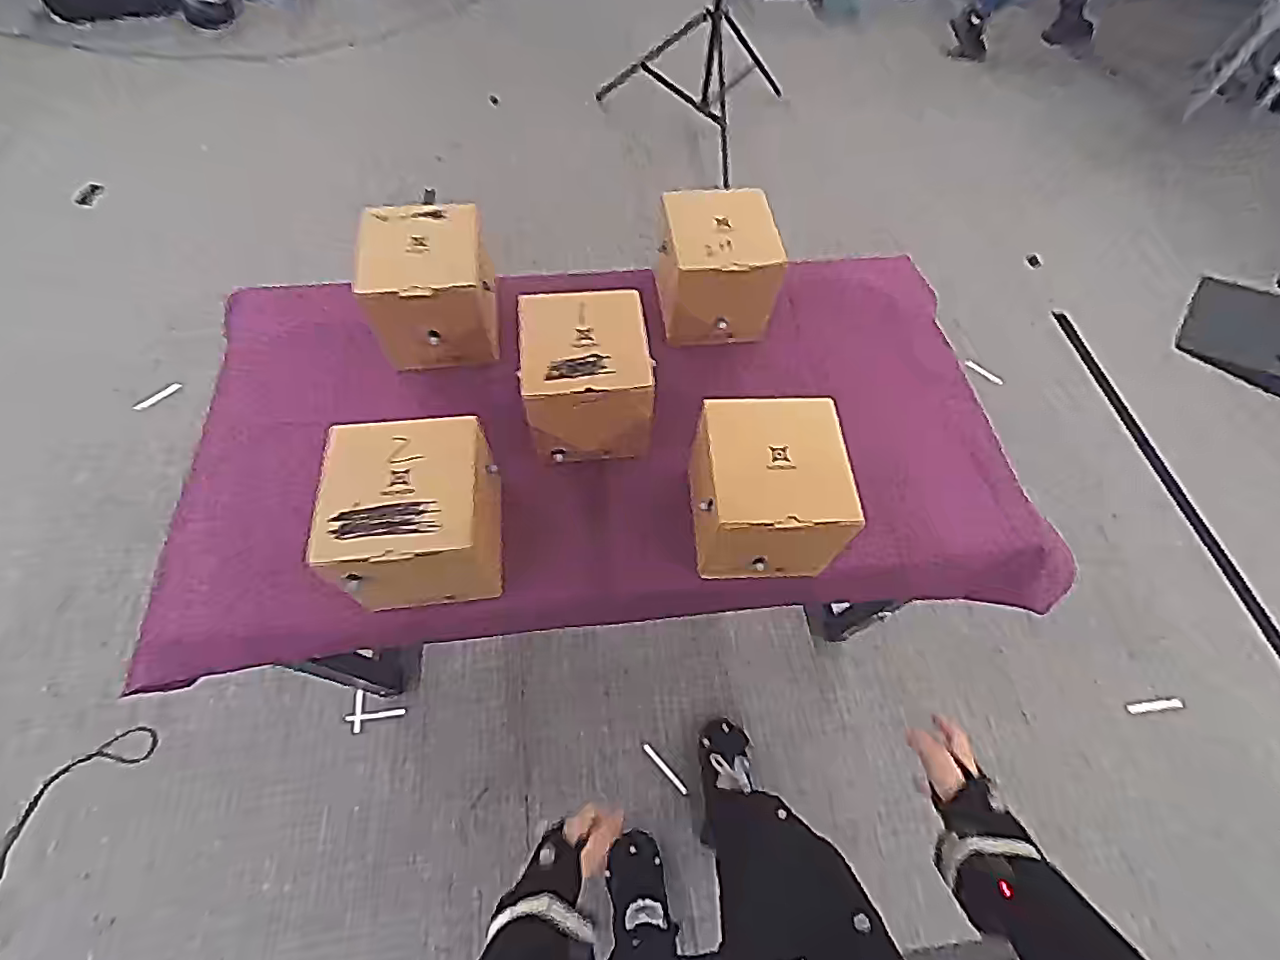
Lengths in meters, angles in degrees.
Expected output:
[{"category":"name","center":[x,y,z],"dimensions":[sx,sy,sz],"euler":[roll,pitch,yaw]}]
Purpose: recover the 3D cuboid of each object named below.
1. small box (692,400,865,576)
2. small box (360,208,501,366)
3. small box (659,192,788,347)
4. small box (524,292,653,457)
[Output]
[{"category":"small box","center":[0.165,0.015,0.710],"dimensions":[0.168,0.176,0.179],"euler":[-1,61,-3]},{"category":"small box","center":[-0.316,-0.294,0.851],"dimensions":[0.168,0.176,0.179],"euler":[-5,64,-6]},{"category":"small box","center":[0.127,-0.346,0.900],"dimensions":[0.168,0.176,0.179],"euler":[-5,63,-5]},{"category":"small box","center":[-0.073,-0.144,0.785],"dimensions":[0.168,0.176,0.179],"euler":[-5,61,-5]}]
